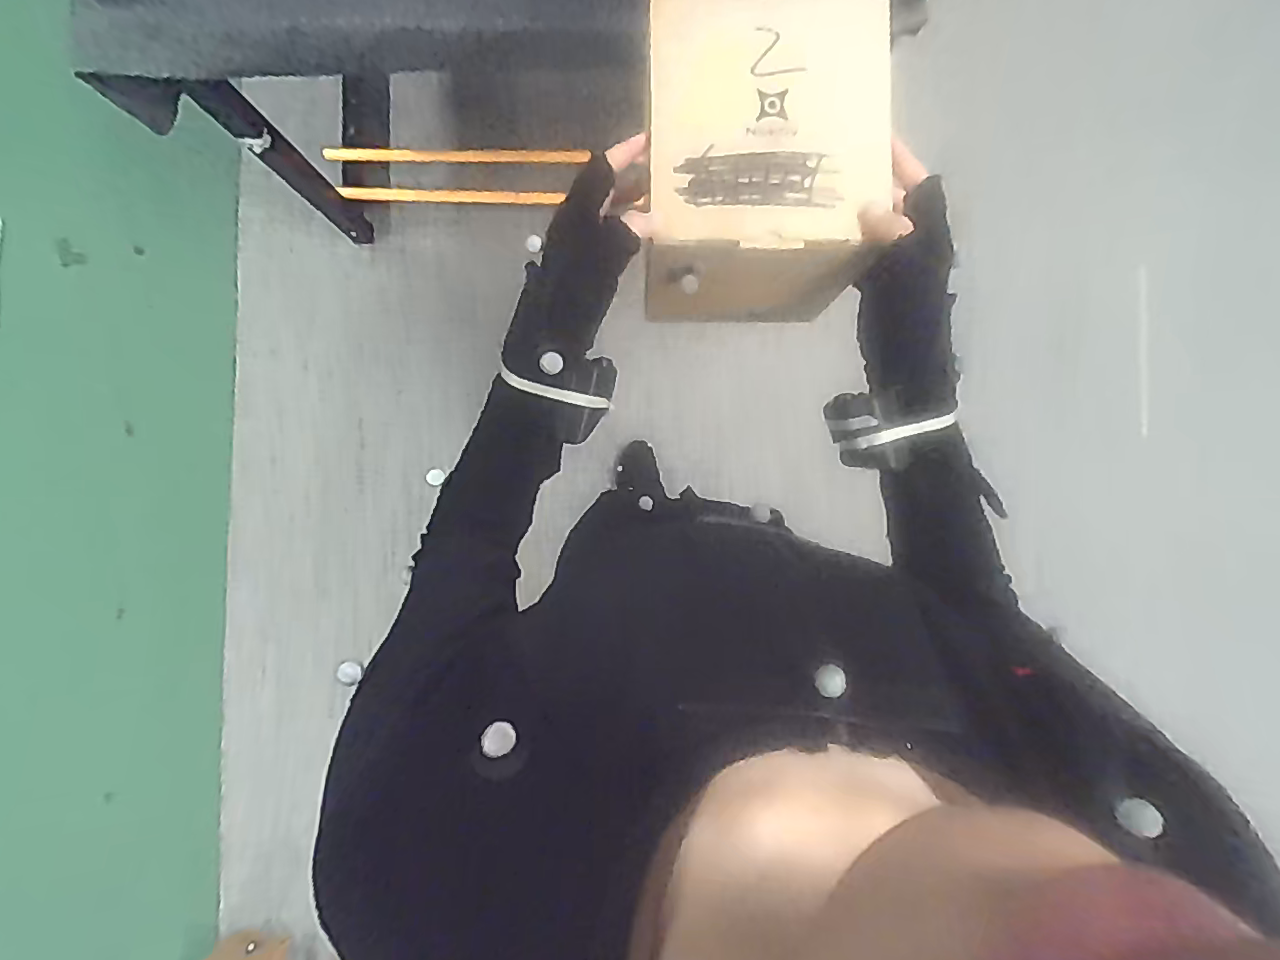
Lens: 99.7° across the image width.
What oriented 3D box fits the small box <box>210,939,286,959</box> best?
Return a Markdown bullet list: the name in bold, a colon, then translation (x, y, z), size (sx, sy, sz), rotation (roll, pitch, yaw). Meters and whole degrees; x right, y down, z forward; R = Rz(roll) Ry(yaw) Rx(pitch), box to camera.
- **small box**: translation (-1.017, 1.305, 1.349), size (0.168, 0.176, 0.179), rotation (2, 87, -1)
